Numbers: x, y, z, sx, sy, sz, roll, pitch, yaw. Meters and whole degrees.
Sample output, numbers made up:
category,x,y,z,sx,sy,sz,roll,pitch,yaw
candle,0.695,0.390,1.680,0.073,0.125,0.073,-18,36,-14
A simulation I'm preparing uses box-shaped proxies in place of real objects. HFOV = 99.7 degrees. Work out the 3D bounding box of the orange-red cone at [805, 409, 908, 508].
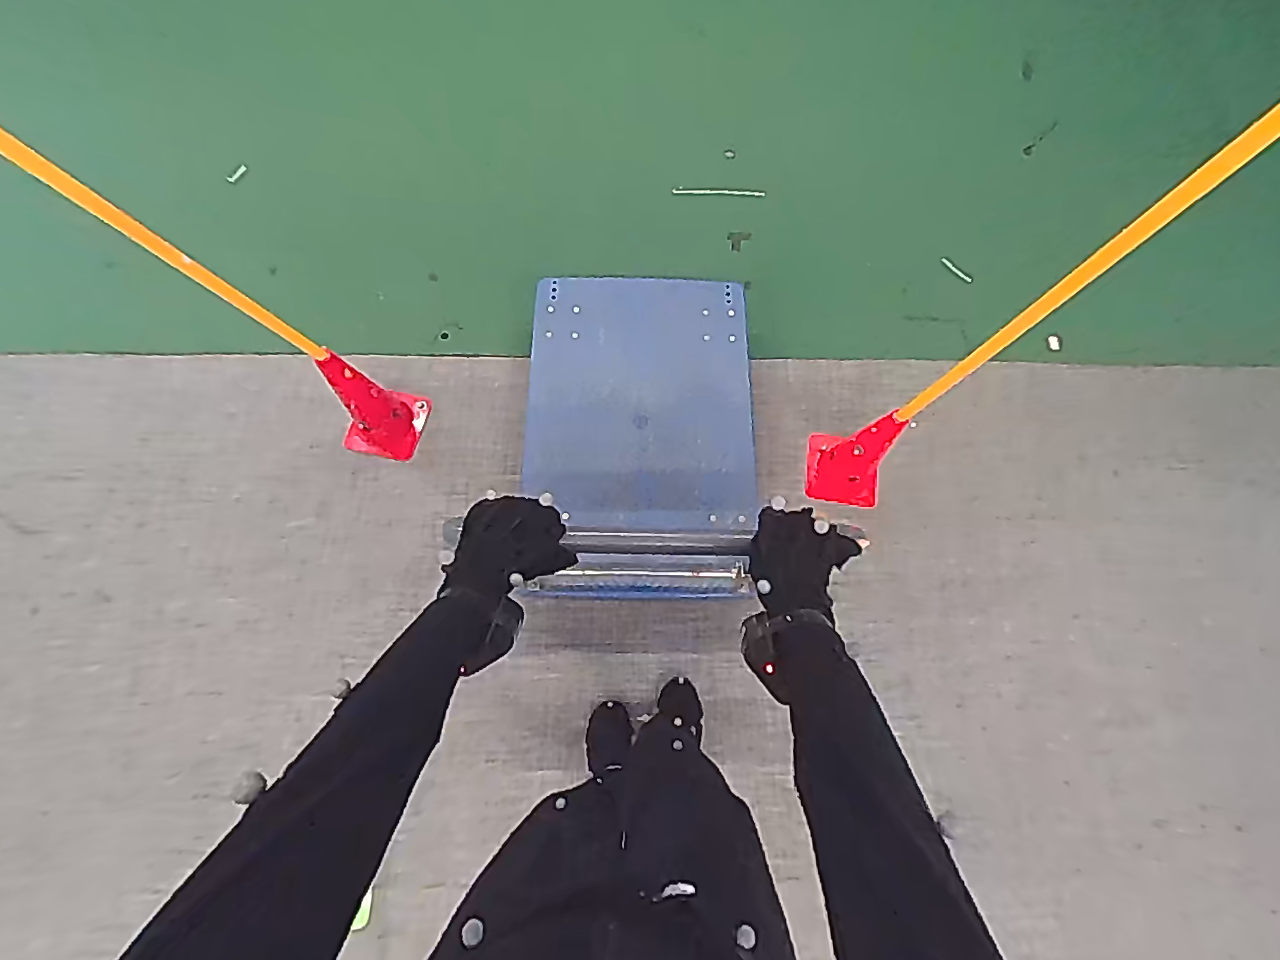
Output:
category,x,y,z,sx,sy,sz,roll,pitch,yaw
orange-red cone,0.574,-0.082,1.362,0.198,0.360,0.199,11,72,2
